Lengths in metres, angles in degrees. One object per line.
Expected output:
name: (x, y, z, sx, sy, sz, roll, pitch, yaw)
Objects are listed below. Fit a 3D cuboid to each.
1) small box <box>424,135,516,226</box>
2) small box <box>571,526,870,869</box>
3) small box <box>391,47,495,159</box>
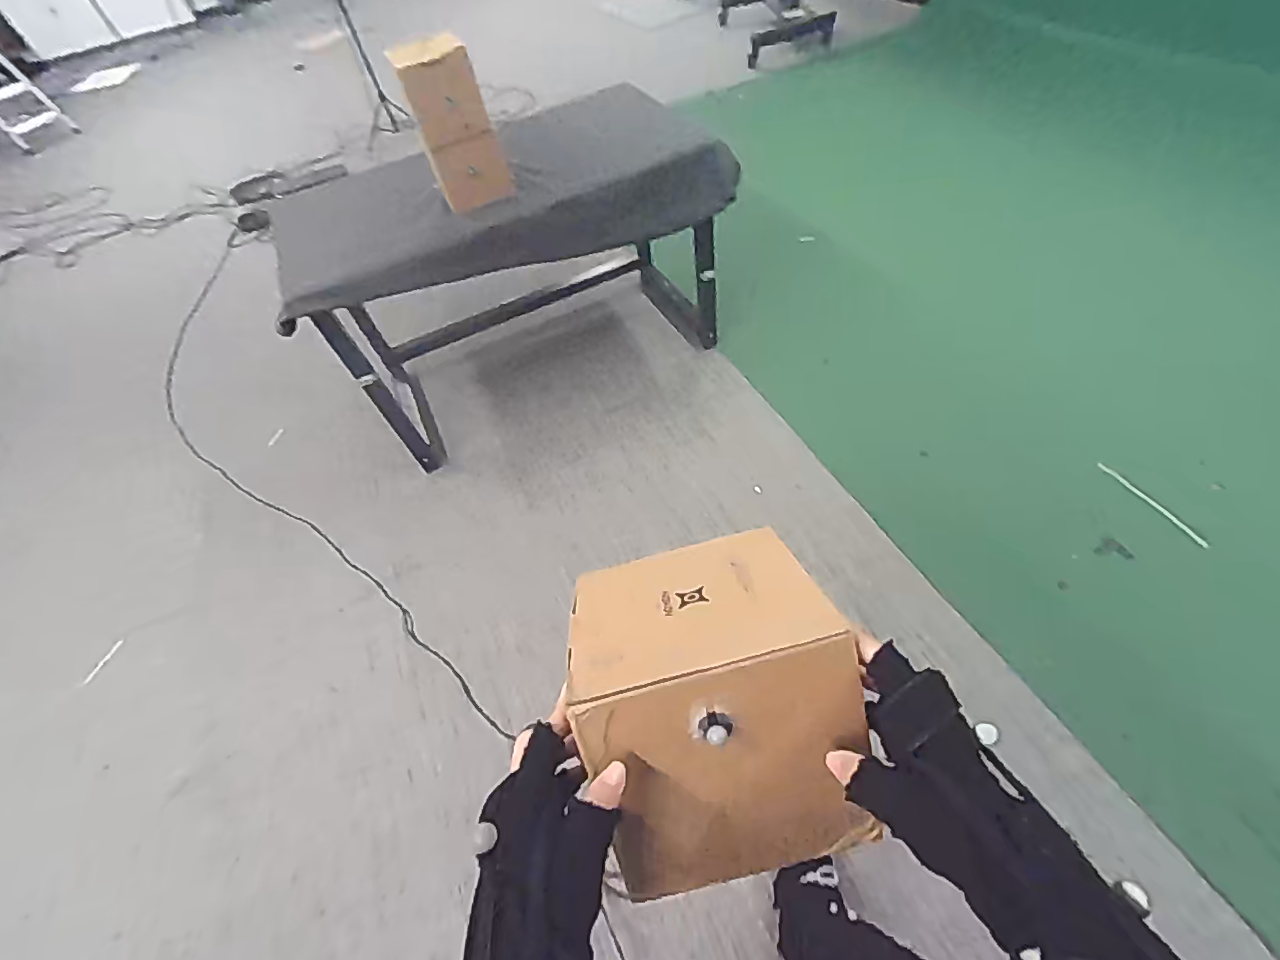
small box: (-0.449, -0.818, 1.450, 0.179, 0.176, 0.168, -25, 53, -8)
small box: (0.056, 0.159, 0.426, 0.179, 0.176, 0.168, -14, 17, -1)
small box: (-0.476, -0.914, 1.321, 0.168, 0.176, 0.179, -26, 53, -10)
